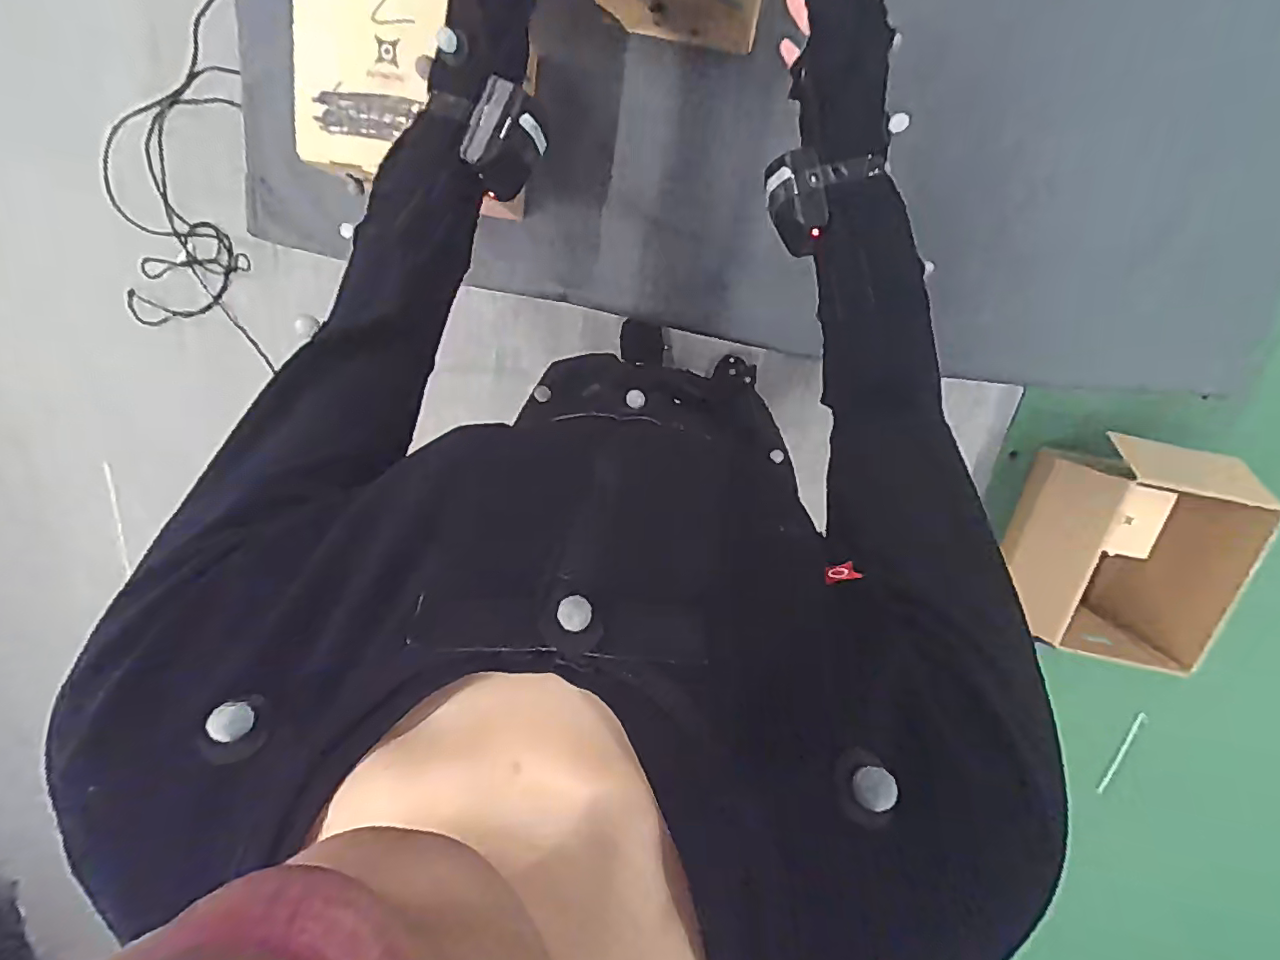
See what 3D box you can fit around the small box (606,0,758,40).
[{"bbox_3d":[0.046,-0.541,0.477,0.168,0.176,0.179,12,110,1],"label":"small box"}]
